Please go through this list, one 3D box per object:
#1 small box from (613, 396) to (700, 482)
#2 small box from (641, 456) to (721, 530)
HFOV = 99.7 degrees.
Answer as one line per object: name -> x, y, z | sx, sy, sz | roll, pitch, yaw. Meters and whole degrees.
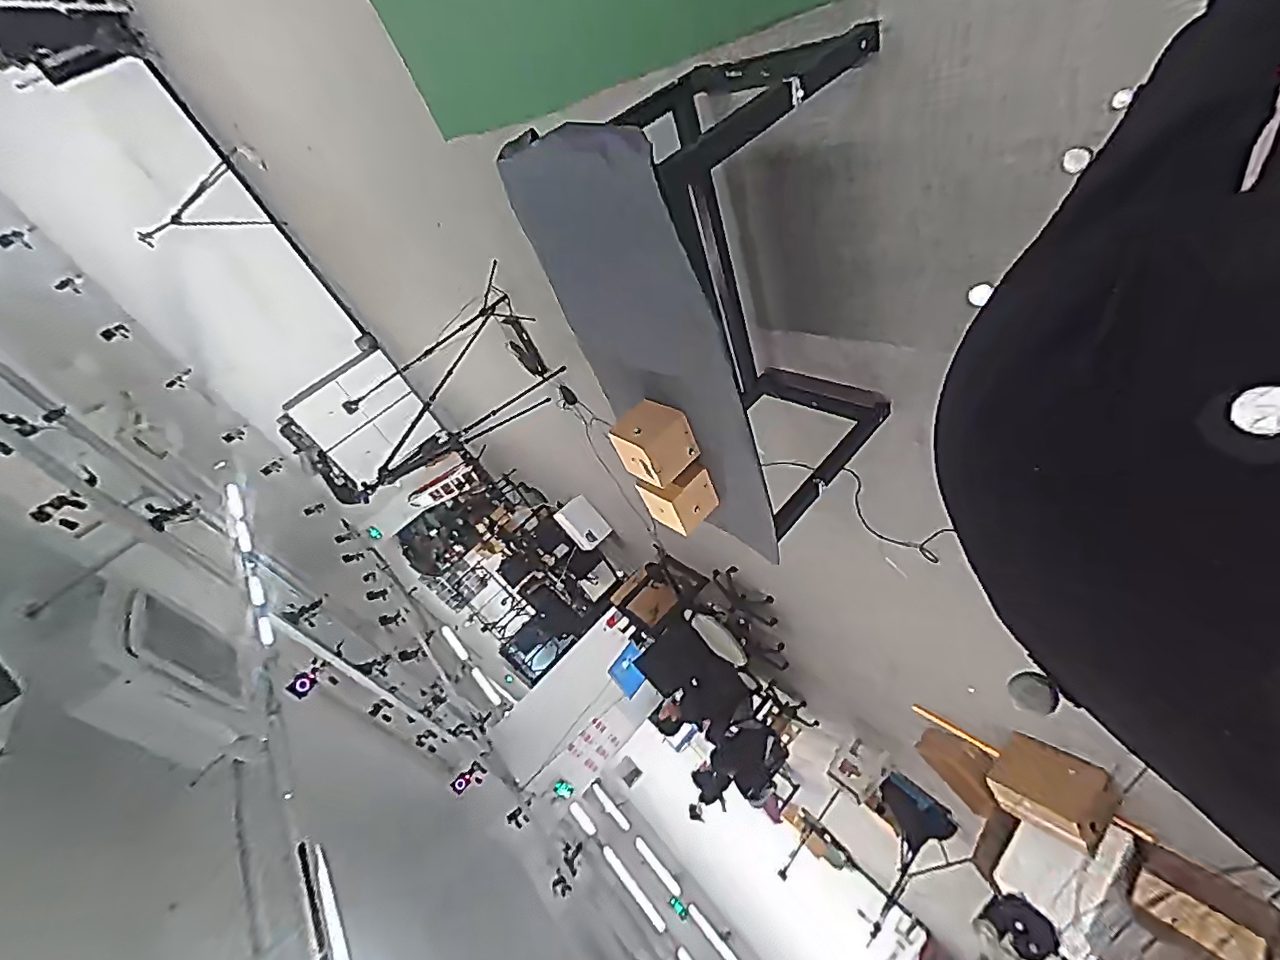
small box -> 0.058, -0.127, 1.604 | 0.179, 0.176, 0.168 | 28, 155, 46
small box -> 0.142, 0.024, 1.746 | 0.179, 0.176, 0.168 | 28, 155, 46
